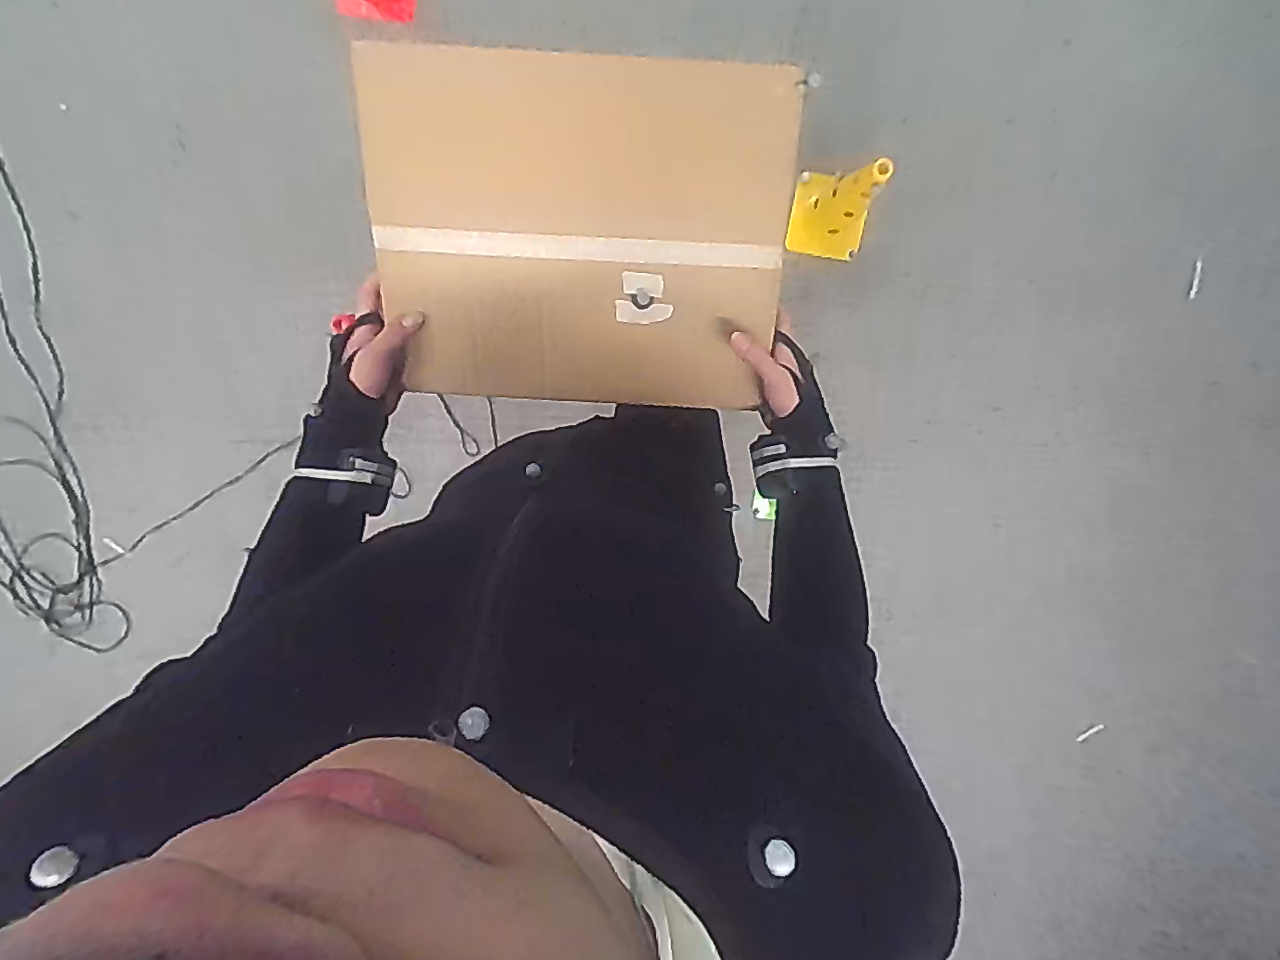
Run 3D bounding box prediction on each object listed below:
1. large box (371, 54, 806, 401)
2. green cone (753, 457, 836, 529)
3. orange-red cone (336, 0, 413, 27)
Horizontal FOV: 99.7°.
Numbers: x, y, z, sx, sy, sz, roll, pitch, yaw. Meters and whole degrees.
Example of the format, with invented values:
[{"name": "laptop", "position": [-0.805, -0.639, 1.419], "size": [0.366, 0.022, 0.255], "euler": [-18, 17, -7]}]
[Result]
[{"name": "large box", "position": [-0.052, -0.289, 0.682], "size": [0.408, 0.320, 0.320], "euler": [2, 113, -1]}, {"name": "green cone", "position": [0.445, 0.069, 1.444], "size": [0.200, 0.368, 0.202], "euler": [6, 101, -1]}, {"name": "orange-red cone", "position": [-0.667, -1.221, 1.185], "size": [0.199, 0.360, 0.198], "euler": [8, 101, 1]}]
